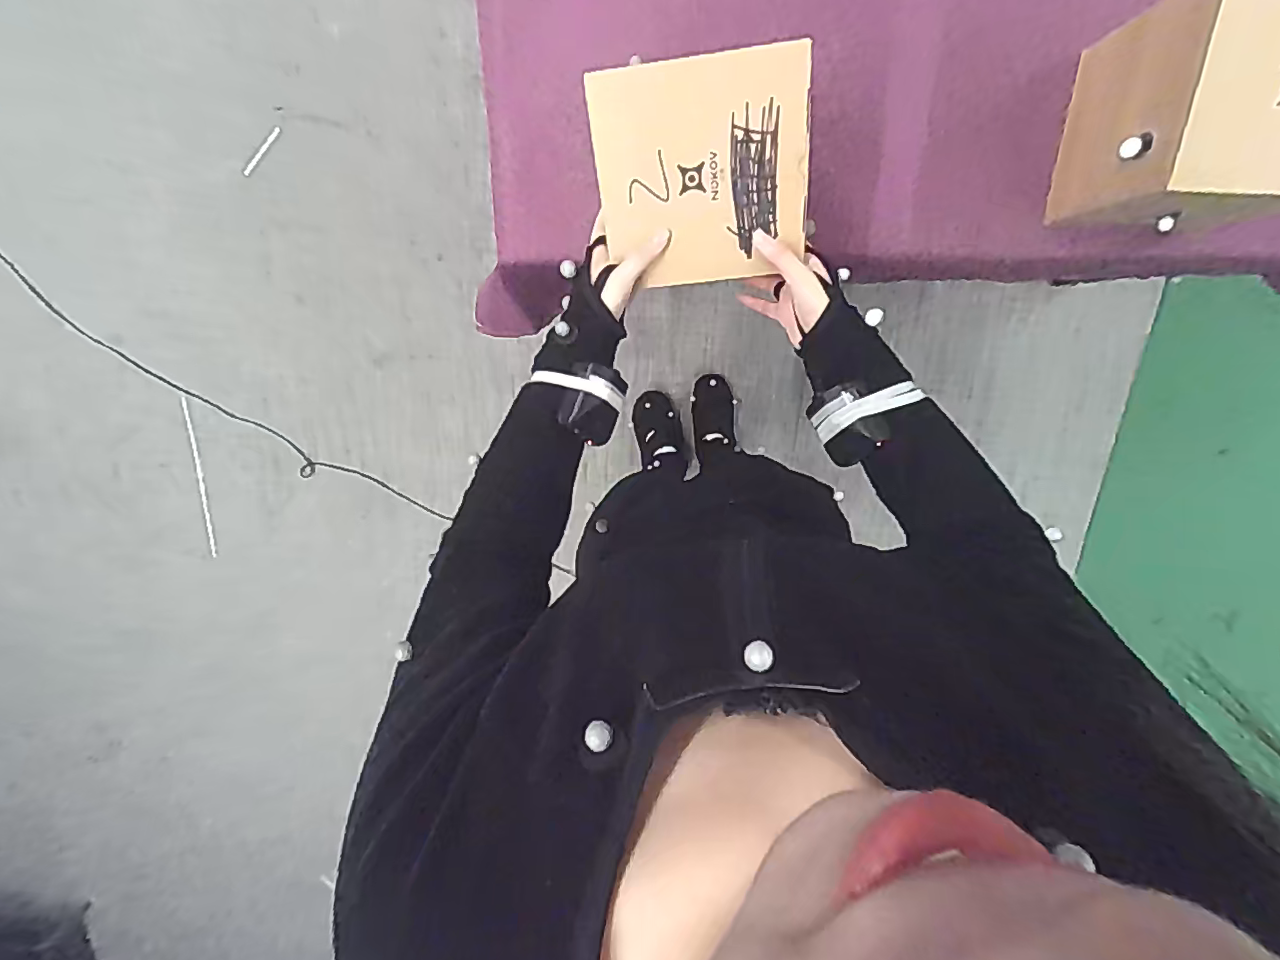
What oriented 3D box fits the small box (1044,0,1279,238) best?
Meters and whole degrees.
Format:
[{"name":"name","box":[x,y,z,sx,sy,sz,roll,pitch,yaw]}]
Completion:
[{"name":"small box","box":[0.552,-0.349,0.539,0.168,0.176,0.179,4,105,1]}]
